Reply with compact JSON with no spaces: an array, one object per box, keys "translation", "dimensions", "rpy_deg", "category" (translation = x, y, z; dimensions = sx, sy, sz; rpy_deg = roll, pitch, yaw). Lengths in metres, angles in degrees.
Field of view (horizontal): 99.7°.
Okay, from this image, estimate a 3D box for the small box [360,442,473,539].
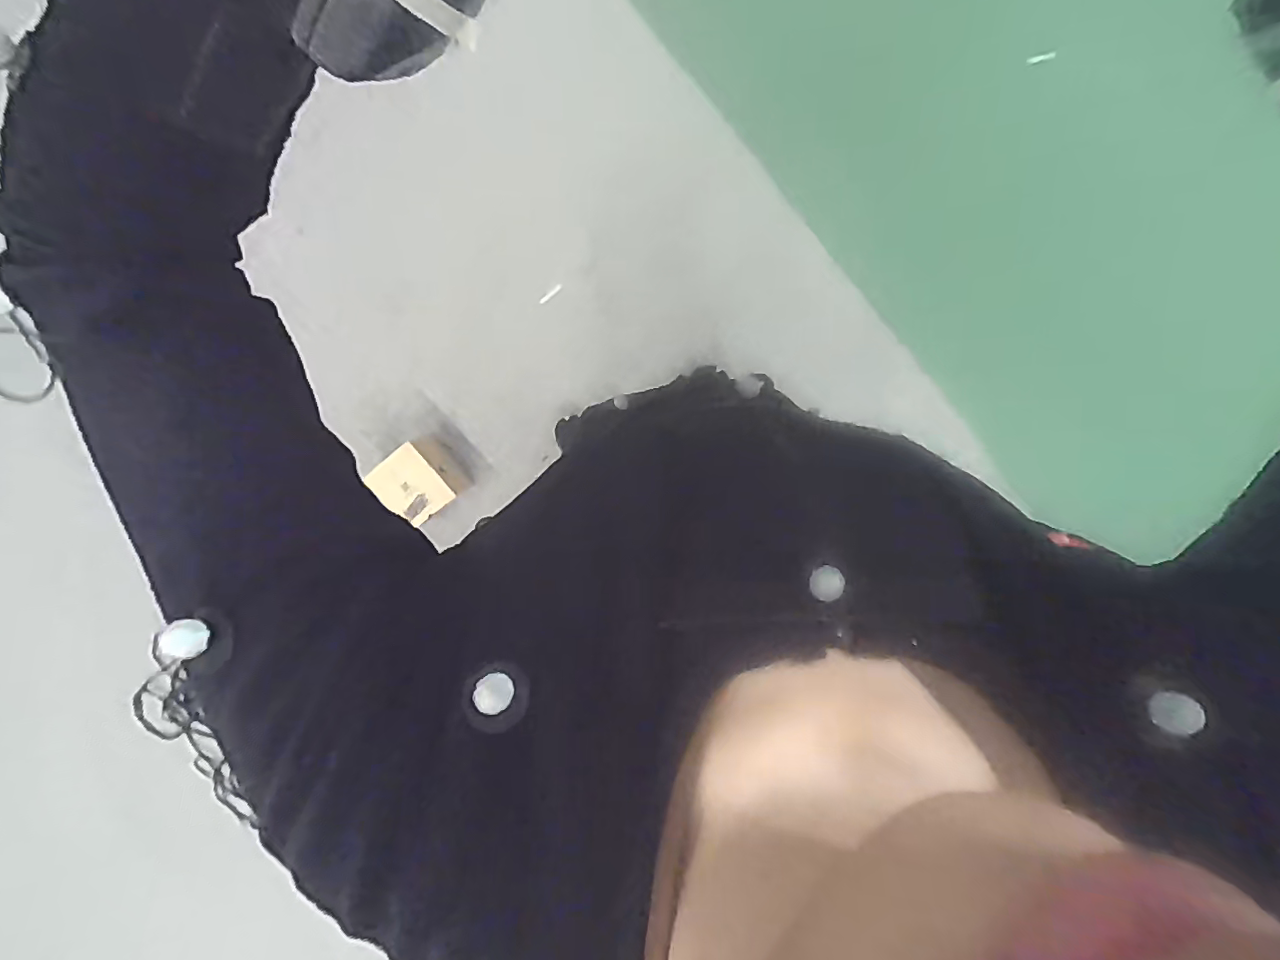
[{"translation":[-0.557,0.018,1.376],"dimensions":[0.168,0.176,0.179],"rpy_deg":[-38,98,4],"category":"small box"}]
